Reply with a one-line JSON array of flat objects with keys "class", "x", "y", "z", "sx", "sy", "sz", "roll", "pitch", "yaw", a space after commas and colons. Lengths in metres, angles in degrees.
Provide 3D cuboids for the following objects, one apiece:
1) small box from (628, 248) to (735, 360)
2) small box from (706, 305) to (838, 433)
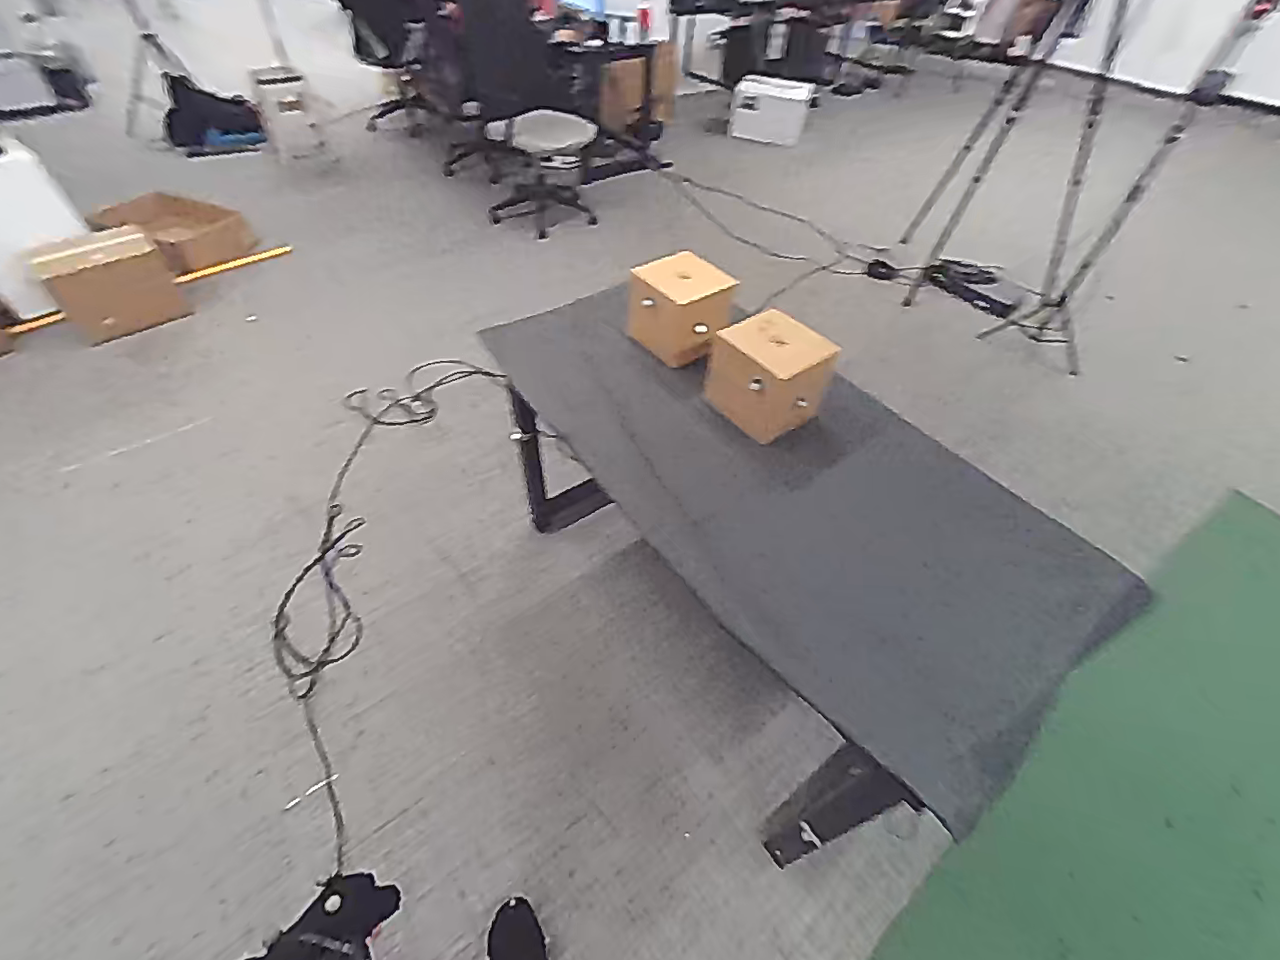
[{"class": "small box", "x": 0.089, "y": -0.394, "z": 1.232, "sx": 0.168, "sy": 0.176, "sz": 0.179, "roll": -30, "pitch": 56, "yaw": -25}, {"class": "small box", "x": 0.254, "y": -0.215, "z": 1.081, "sx": 0.168, "sy": 0.176, "sz": 0.179, "roll": -29, "pitch": 56, "yaw": -26}]
